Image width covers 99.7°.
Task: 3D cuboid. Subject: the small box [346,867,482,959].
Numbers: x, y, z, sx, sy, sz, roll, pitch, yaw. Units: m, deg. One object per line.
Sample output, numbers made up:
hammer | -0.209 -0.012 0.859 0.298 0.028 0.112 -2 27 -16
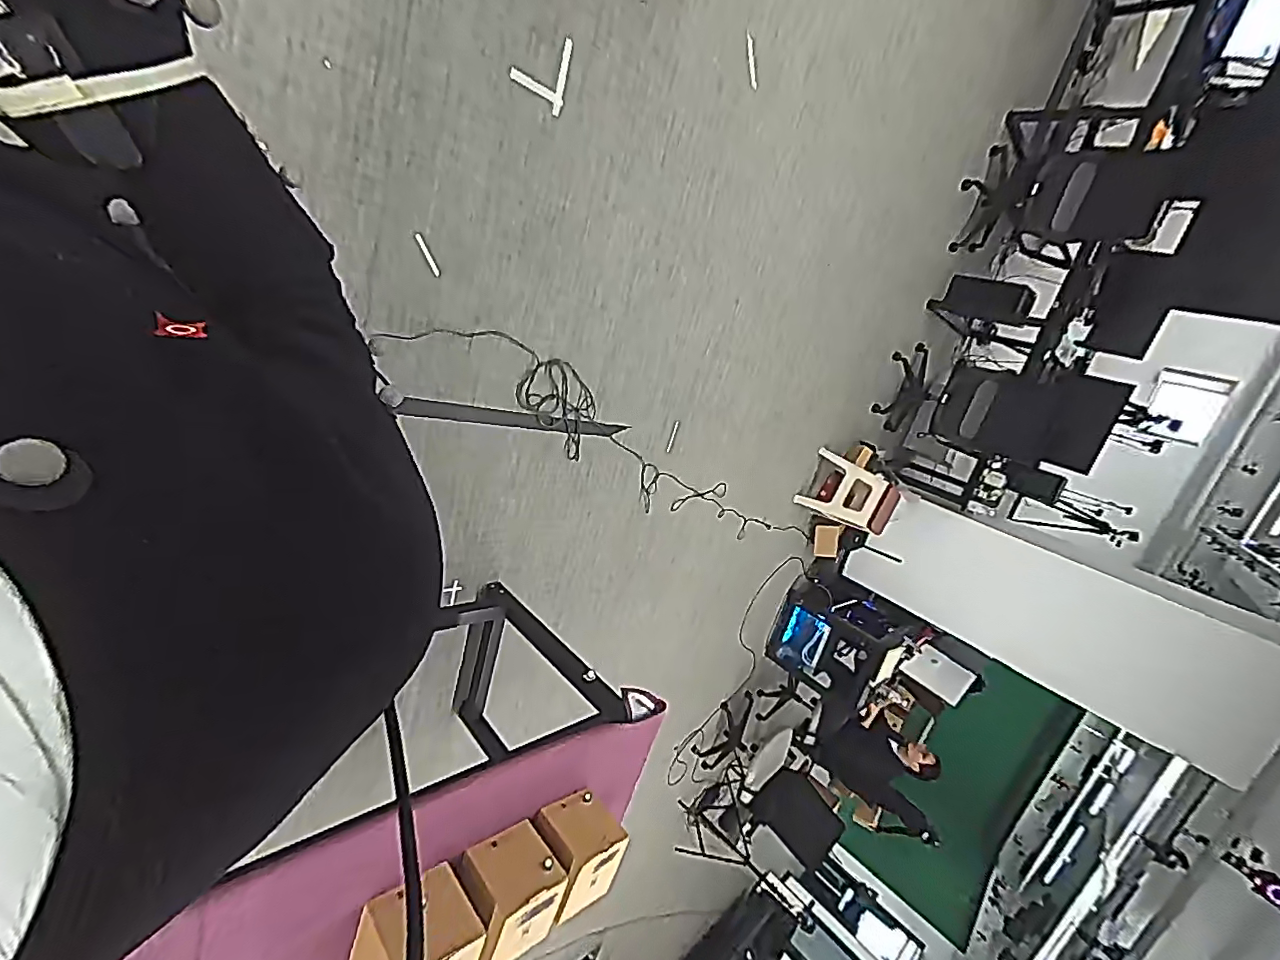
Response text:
small box | -0.432 0.893 1.021 0.168 0.176 0.179 4 109 -50
